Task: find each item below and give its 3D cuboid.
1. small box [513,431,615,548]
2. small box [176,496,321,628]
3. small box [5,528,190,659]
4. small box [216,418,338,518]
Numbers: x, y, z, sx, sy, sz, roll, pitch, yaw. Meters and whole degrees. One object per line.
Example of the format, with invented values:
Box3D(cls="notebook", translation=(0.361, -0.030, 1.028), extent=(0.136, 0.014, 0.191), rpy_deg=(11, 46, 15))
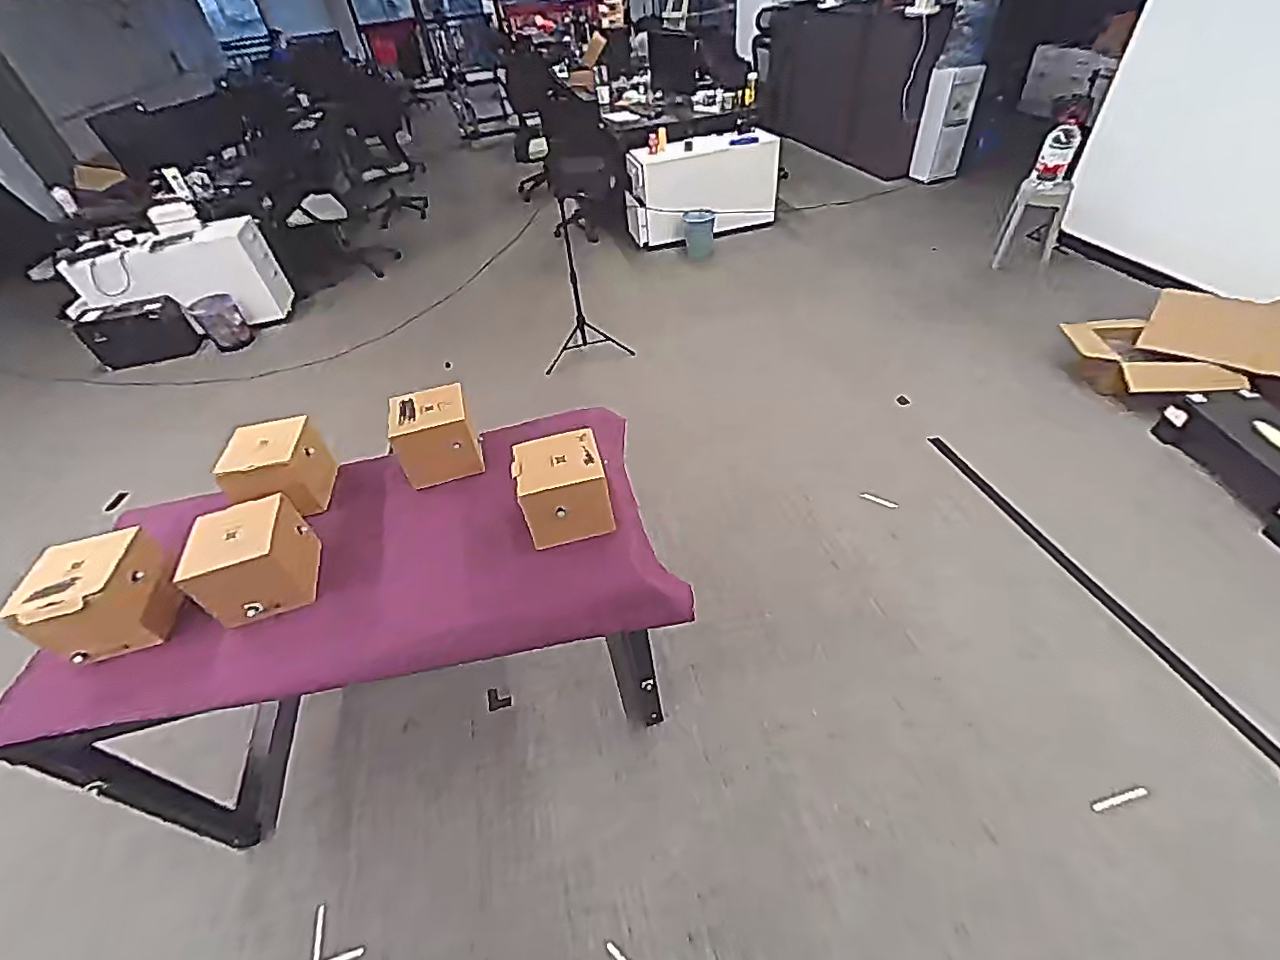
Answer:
Box3D(cls="small box", translation=(-0.162, 0.024, 1.161), extent=(0.179, 0.176, 0.168), rpy_deg=(-14, 44, -5))
Box3D(cls="small box", translation=(-0.775, 0.166, 1.096), extent=(0.168, 0.176, 0.179), rpy_deg=(-18, 44, -10))
Box3D(cls="small box", translation=(-1.040, 0.228, 1.061), extent=(0.168, 0.176, 0.179), rpy_deg=(-15, 43, -8))
Box3D(cls="small box", translation=(-0.853, -0.020, 1.294), extent=(0.168, 0.176, 0.179), rpy_deg=(-12, 44, -6))
